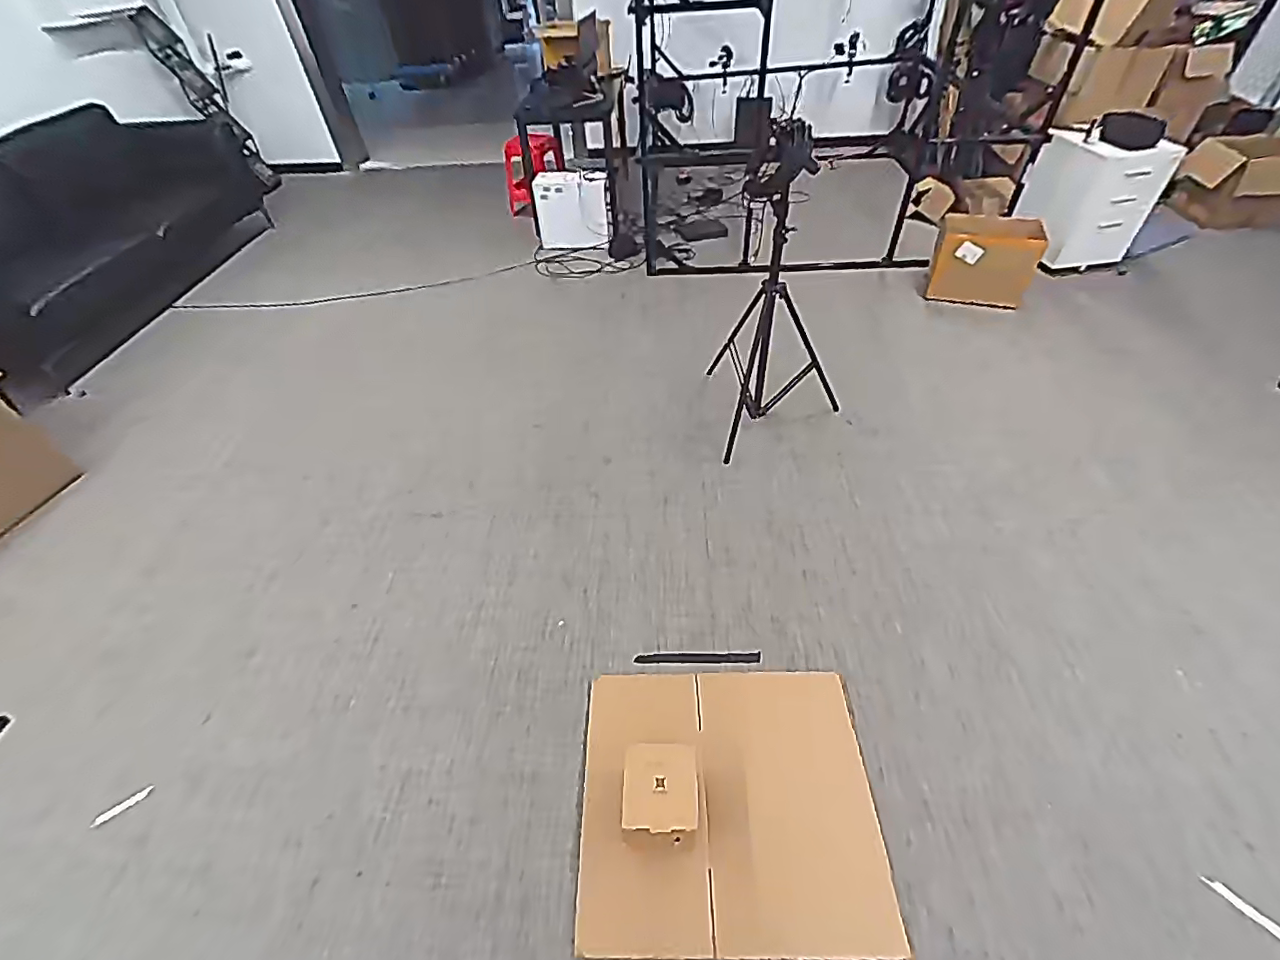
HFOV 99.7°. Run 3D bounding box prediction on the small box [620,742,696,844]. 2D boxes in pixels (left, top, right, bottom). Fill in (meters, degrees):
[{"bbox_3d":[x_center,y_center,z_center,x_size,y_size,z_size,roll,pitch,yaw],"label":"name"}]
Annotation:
[{"bbox_3d":[0.044,0.725,1.250,0.168,0.176,0.179,0,46,2],"label":"small box"}]
